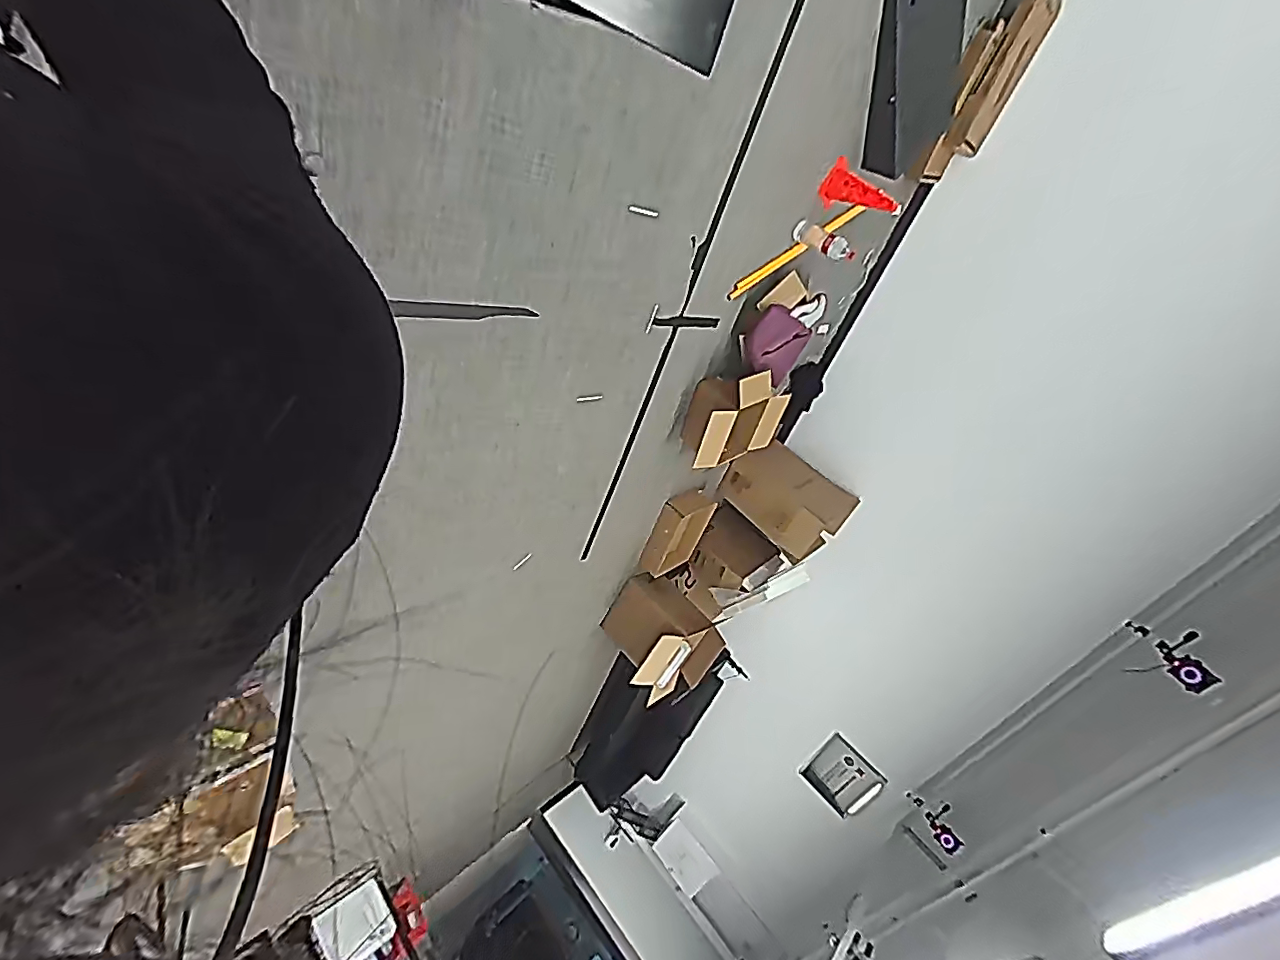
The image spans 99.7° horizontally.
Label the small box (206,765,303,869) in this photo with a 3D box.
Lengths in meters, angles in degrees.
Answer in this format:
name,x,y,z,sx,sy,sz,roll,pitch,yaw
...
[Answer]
name,x,y,z,sx,sy,sz,roll,pitch,yaw
small box,-1.129,0.982,1.588,0.168,0.176,0.179,-28,142,-38
